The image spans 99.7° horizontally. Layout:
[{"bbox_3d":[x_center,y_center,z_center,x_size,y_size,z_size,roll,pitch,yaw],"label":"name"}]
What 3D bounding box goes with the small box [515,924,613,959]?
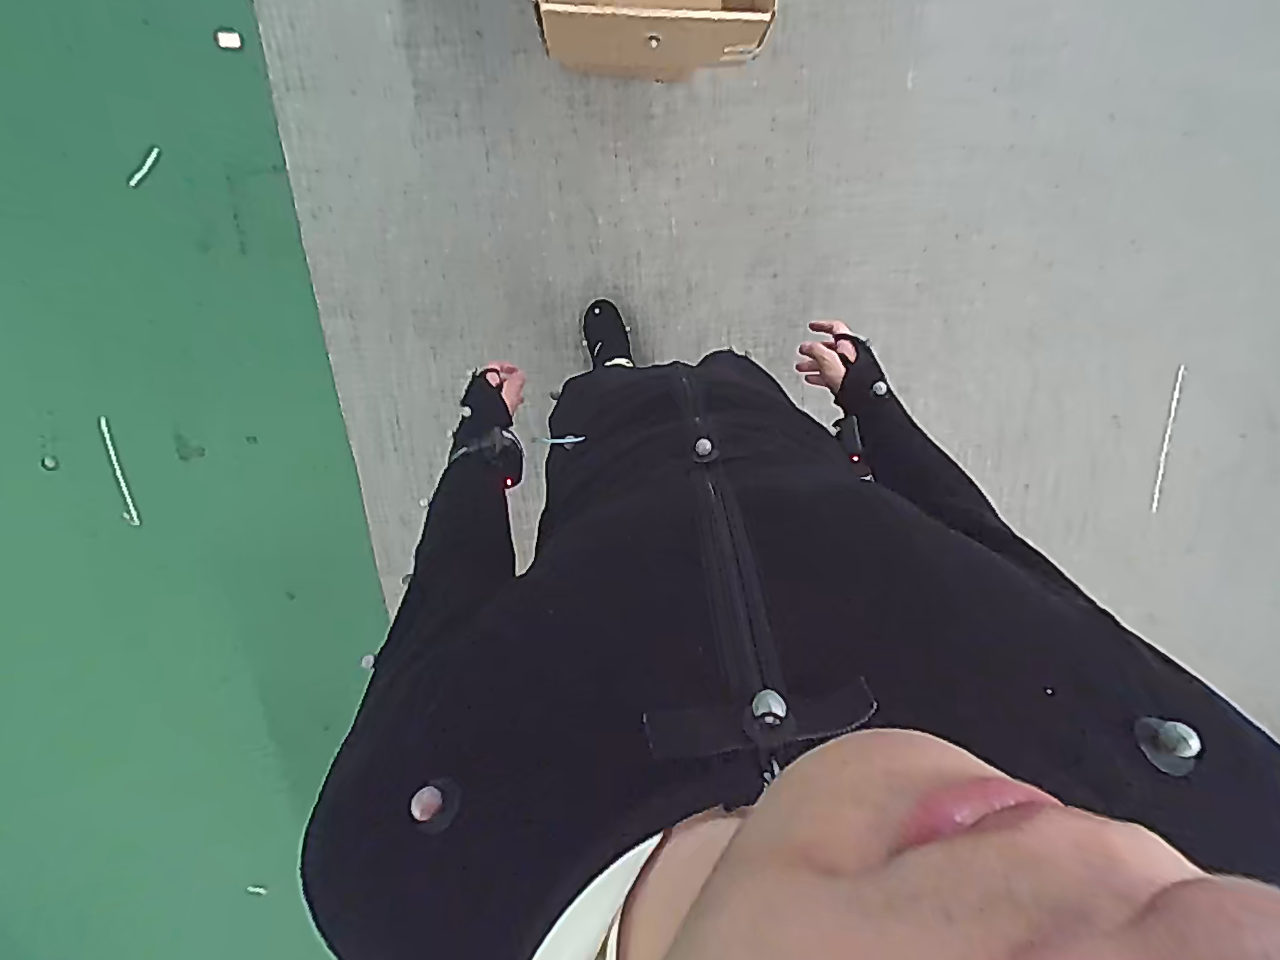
[{"bbox_3d":[-0.153,1.043,1.087,0.168,0.176,0.179,-25,107,3],"label":"small box"}]
